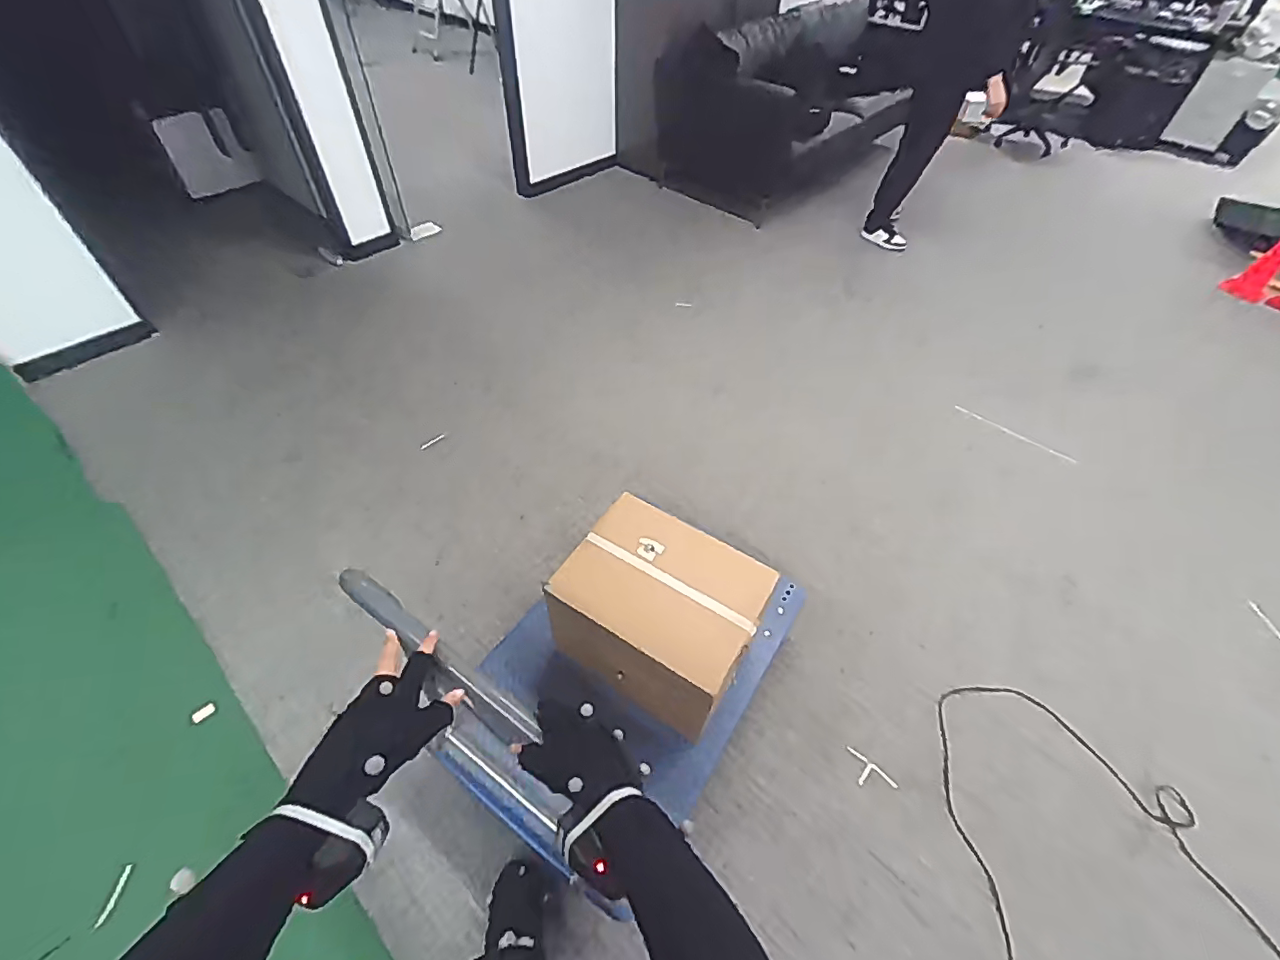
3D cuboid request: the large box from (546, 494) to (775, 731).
[{"bbox_3d":[0.047,0.306,1.262,0.408,0.320,0.320,26,53,19],"label":"large box"}]
